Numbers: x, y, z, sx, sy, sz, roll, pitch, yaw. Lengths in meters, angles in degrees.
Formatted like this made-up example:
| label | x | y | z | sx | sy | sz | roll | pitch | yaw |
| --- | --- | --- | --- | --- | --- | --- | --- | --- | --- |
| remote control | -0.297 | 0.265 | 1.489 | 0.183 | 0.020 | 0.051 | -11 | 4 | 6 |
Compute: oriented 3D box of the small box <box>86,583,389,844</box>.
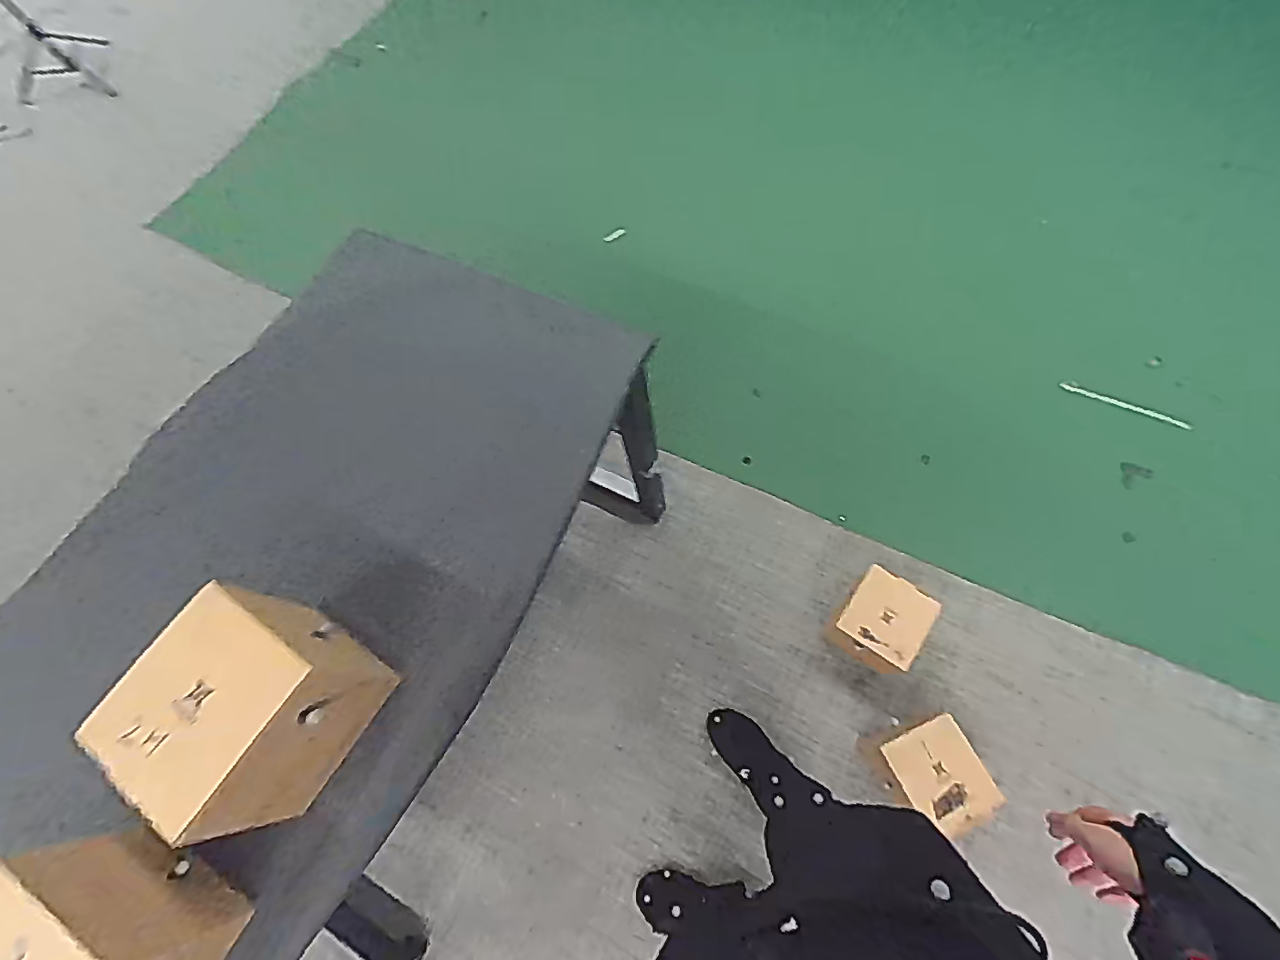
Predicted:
| label | x | y | z | sx | sy | sz | roll | pitch | yaw |
| --- | --- | --- | --- | --- | --- | --- | --- | --- | --- |
| small box | -0.410 | 0.242 | 0.591 | 0.168 | 0.176 | 0.179 | 29 | 75 | 18 |

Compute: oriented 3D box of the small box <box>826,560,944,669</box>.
| label | x | y | z | sx | sy | sz | roll | pitch | yaw |
| --- | --- | --- | --- | --- | --- | --- | --- | --- | --- |
| small box | 0.555 | 0.316 | 1.252 | 0.168 | 0.176 | 0.179 | 33 | 75 | 16 |

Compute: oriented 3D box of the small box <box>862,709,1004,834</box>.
| label | x | y | z | sx | sy | sz | roll | pitch | yaw |
| --- | --- | --- | --- | --- | --- | --- | --- | --- | --- |
| small box | 0.601 | 0.597 | 1.134 | 0.168 | 0.176 | 0.179 | -24 | 67 | -4 |
